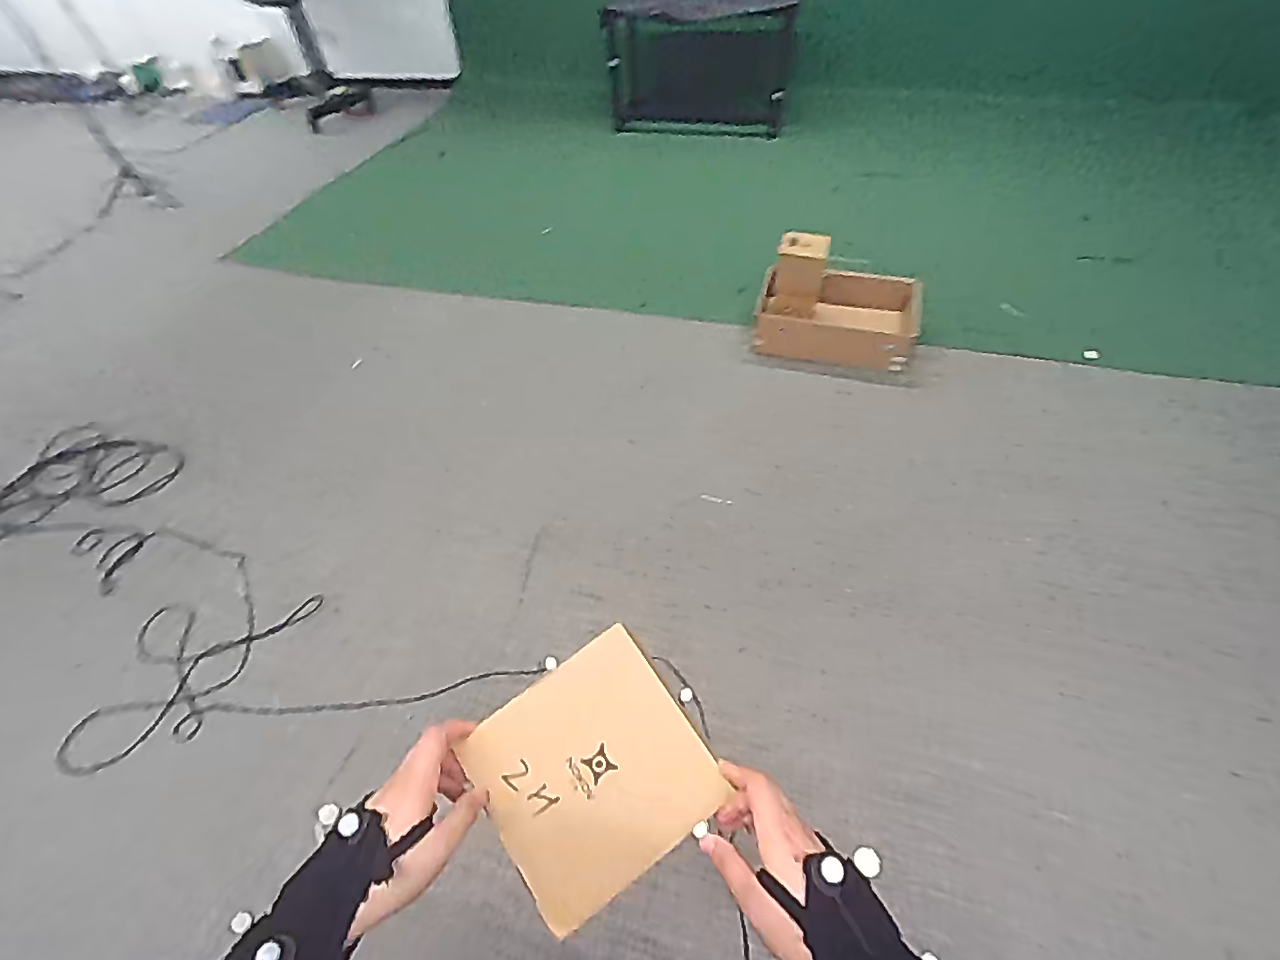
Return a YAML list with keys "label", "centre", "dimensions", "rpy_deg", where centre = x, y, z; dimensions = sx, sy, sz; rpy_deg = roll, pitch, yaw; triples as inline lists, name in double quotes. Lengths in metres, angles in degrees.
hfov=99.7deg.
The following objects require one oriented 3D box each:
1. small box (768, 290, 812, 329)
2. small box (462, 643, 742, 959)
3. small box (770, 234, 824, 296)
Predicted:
- label: "small box"
  centre: [0.646, -0.770, 2.313]
  dimensions: [0.168, 0.176, 0.179]
  rpy_deg: [11, 54, 12]
- label: "small box"
  centre: [-0.030, 0.275, 0.513]
  dimensions: [0.179, 0.176, 0.168]
  rpy_deg: [-35, 72, -8]
- label: "small box"
  centre: [0.630, -0.866, 2.180]
  dimensions: [0.179, 0.176, 0.168]
  rpy_deg: [12, 54, 12]
